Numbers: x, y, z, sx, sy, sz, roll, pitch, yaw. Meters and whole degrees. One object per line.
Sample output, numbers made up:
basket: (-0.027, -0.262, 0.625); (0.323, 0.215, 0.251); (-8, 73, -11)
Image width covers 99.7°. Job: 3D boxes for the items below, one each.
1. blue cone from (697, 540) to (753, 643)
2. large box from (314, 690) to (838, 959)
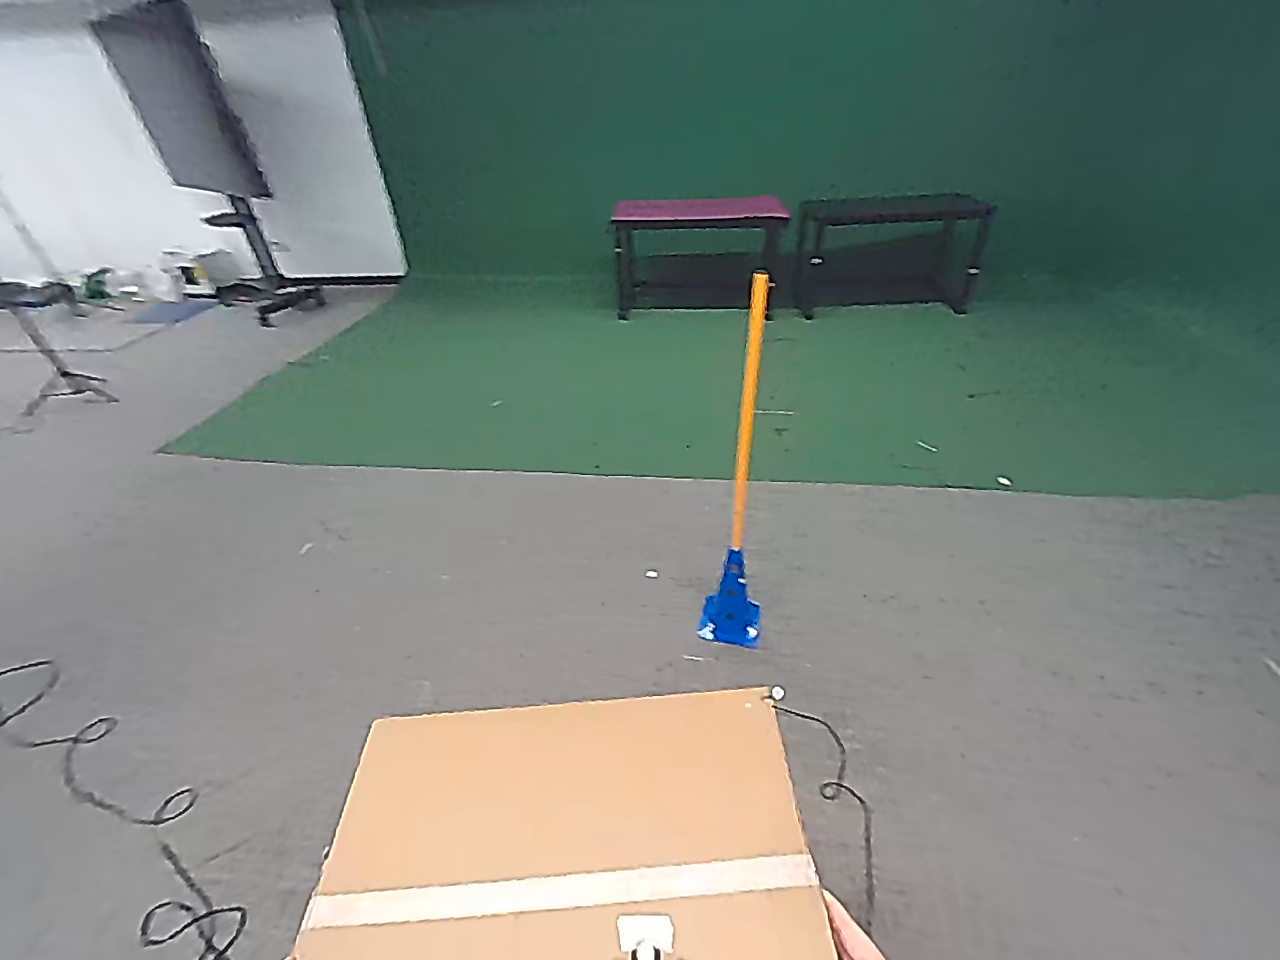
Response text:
blue cone: (0.296, 0.358, 1.818); (0.193, 0.380, 0.192); (8, 37, 14)
large box: (-0.048, 0.444, 0.539); (0.408, 0.320, 0.320); (-4, 41, 0)
